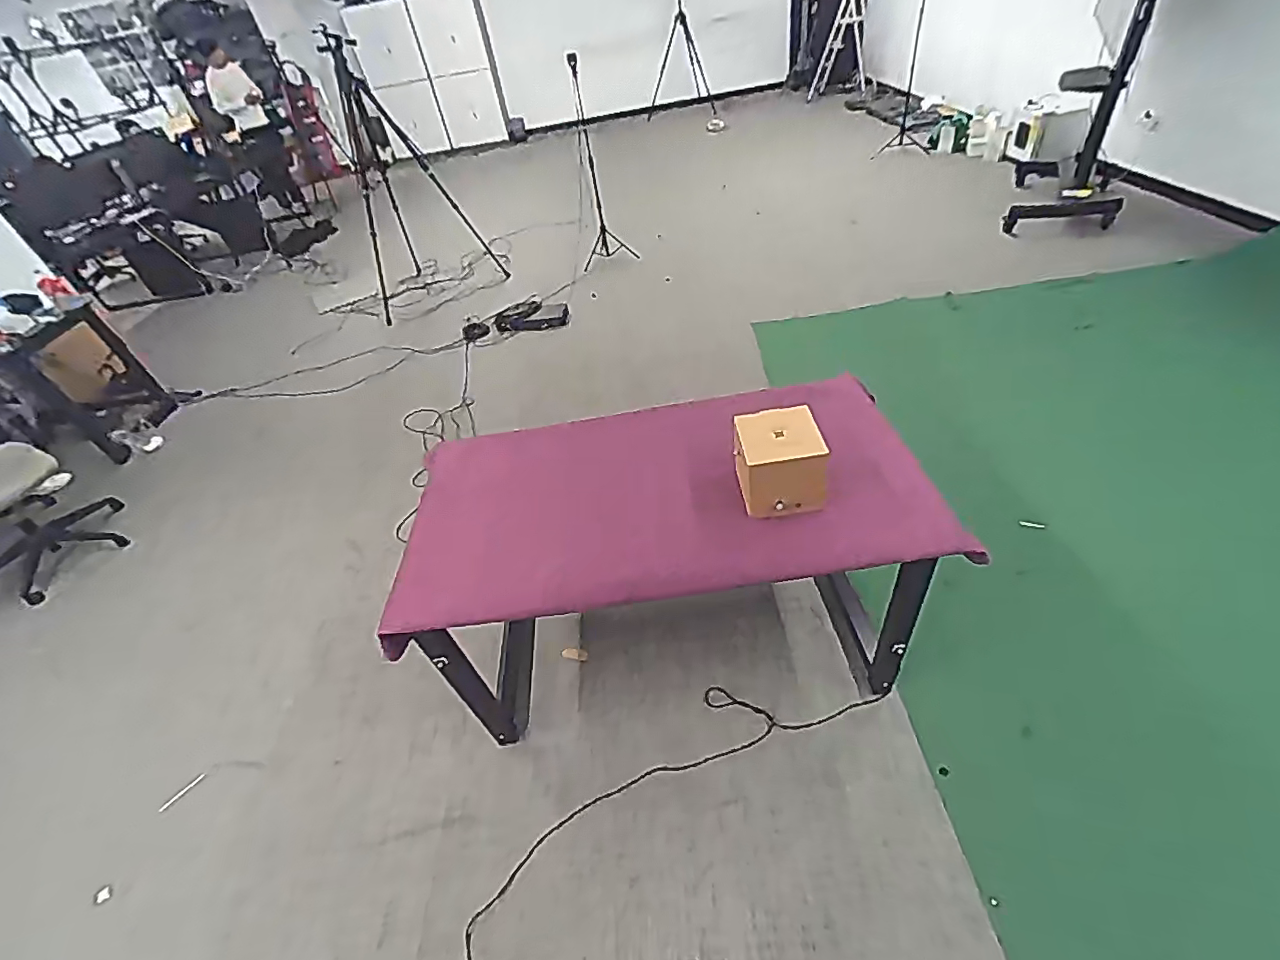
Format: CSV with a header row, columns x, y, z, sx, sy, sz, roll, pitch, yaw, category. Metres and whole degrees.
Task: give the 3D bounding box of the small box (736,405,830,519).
x,y,z,sx,sy,sz,roll,pitch,yaw,category
0.308,-0.039,1.192,0.168,0.176,0.179,-9,41,6,small box
